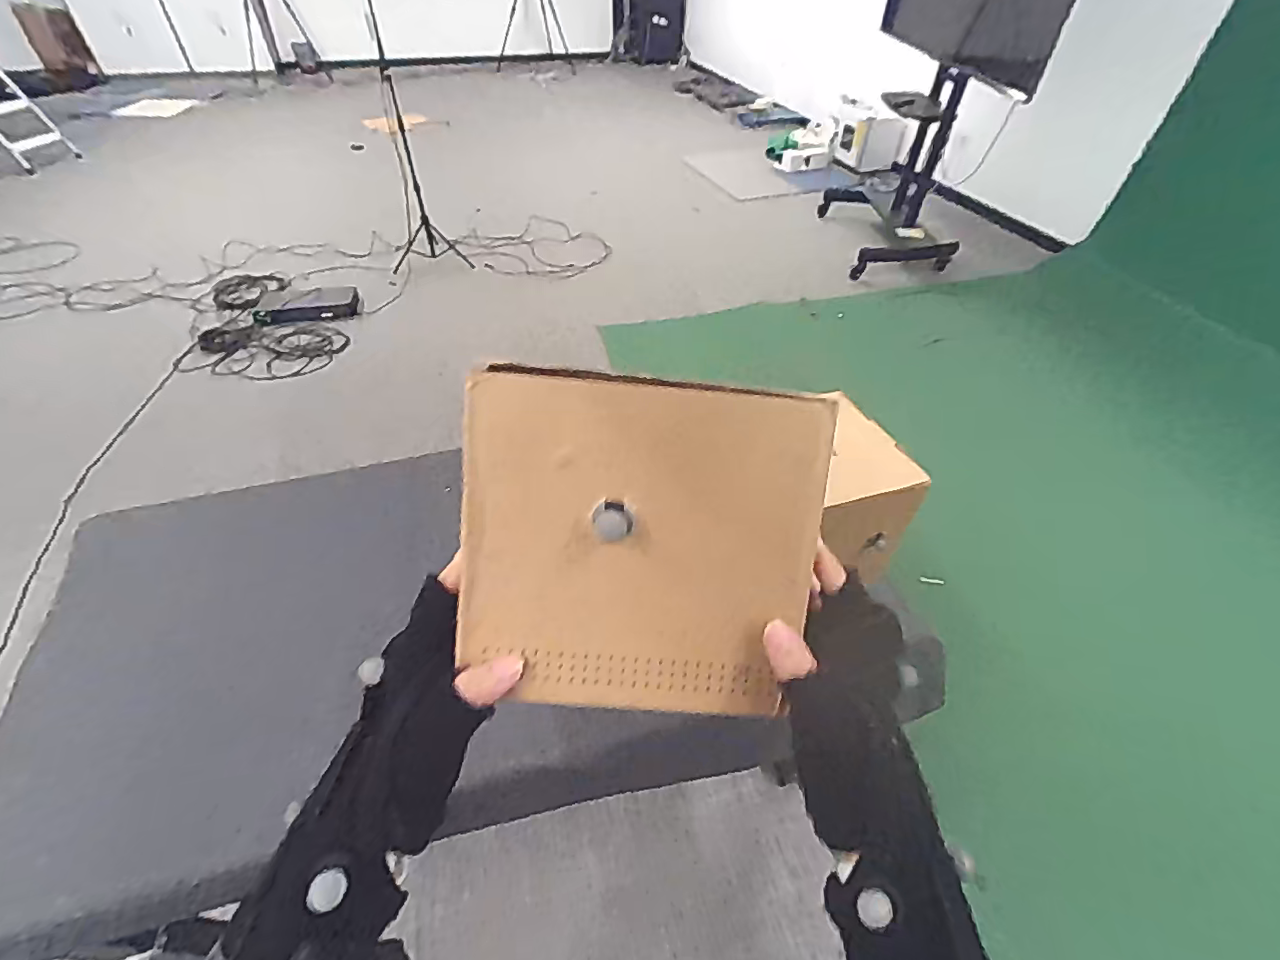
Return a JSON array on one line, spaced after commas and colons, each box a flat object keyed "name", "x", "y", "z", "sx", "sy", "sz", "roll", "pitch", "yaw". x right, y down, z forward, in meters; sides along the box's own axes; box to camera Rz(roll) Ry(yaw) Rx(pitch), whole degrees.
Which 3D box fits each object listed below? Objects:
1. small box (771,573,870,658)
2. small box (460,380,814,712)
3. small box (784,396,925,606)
[{"name": "small box", "x": 0.184, "y": 0.135, "z": 0.765, "sx": 0.168, "sy": 0.176, "sz": 0.179, "roll": -15, "pitch": 46, "yaw": -15}, {"name": "small box", "x": -0.008, "y": 0.027, "z": 0.349, "sx": 0.179, "sy": 0.176, "sz": 0.168, "roll": 4, "pitch": 11, "yaw": -3}, {"name": "small box", "x": 0.188, "y": 0.028, "z": 0.644, "sx": 0.179, "sy": 0.176, "sz": 0.168, "roll": -14, "pitch": 46, "yaw": -13}]
